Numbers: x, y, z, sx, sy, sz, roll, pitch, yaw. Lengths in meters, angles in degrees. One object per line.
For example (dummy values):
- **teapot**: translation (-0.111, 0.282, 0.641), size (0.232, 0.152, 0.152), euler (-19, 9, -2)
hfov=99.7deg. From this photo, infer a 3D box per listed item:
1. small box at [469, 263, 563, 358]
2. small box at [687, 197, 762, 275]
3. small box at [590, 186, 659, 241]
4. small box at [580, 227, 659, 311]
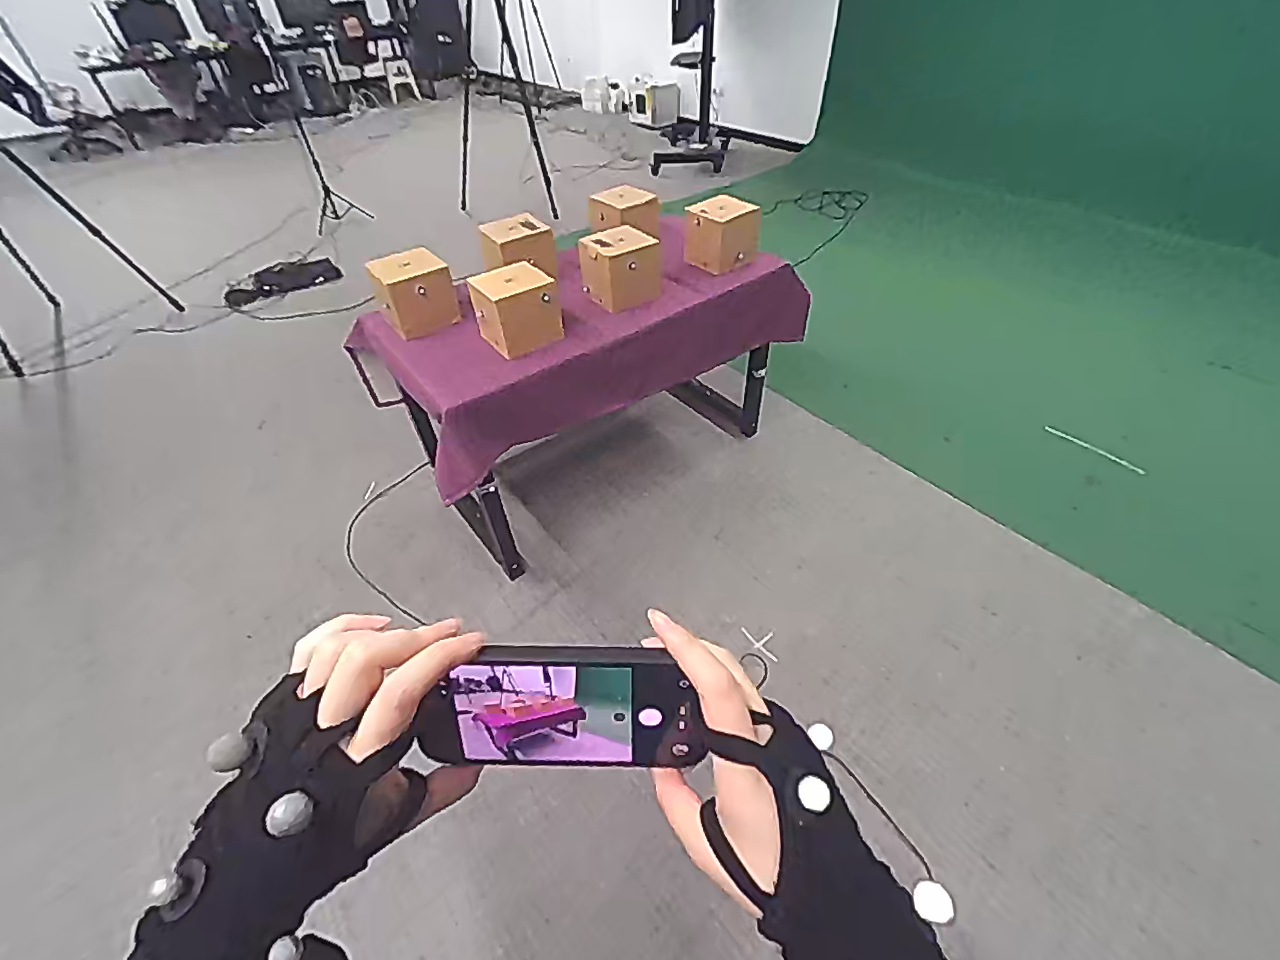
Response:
- **small box**: translation (-0.323, -0.448, 1.433), size (0.179, 0.176, 0.168), euler (-28, 50, -25)
- **small box**: translation (0.264, -0.785, 1.739), size (0.179, 0.176, 0.168), euler (-31, 51, -25)
- **small box**: translation (-0.051, -0.878, 1.845), size (0.168, 0.176, 0.179), euler (-33, 53, -26)
- **small box**: translation (-0.055, -0.618, 1.588), size (0.179, 0.176, 0.168), euler (-27, 50, -23)
